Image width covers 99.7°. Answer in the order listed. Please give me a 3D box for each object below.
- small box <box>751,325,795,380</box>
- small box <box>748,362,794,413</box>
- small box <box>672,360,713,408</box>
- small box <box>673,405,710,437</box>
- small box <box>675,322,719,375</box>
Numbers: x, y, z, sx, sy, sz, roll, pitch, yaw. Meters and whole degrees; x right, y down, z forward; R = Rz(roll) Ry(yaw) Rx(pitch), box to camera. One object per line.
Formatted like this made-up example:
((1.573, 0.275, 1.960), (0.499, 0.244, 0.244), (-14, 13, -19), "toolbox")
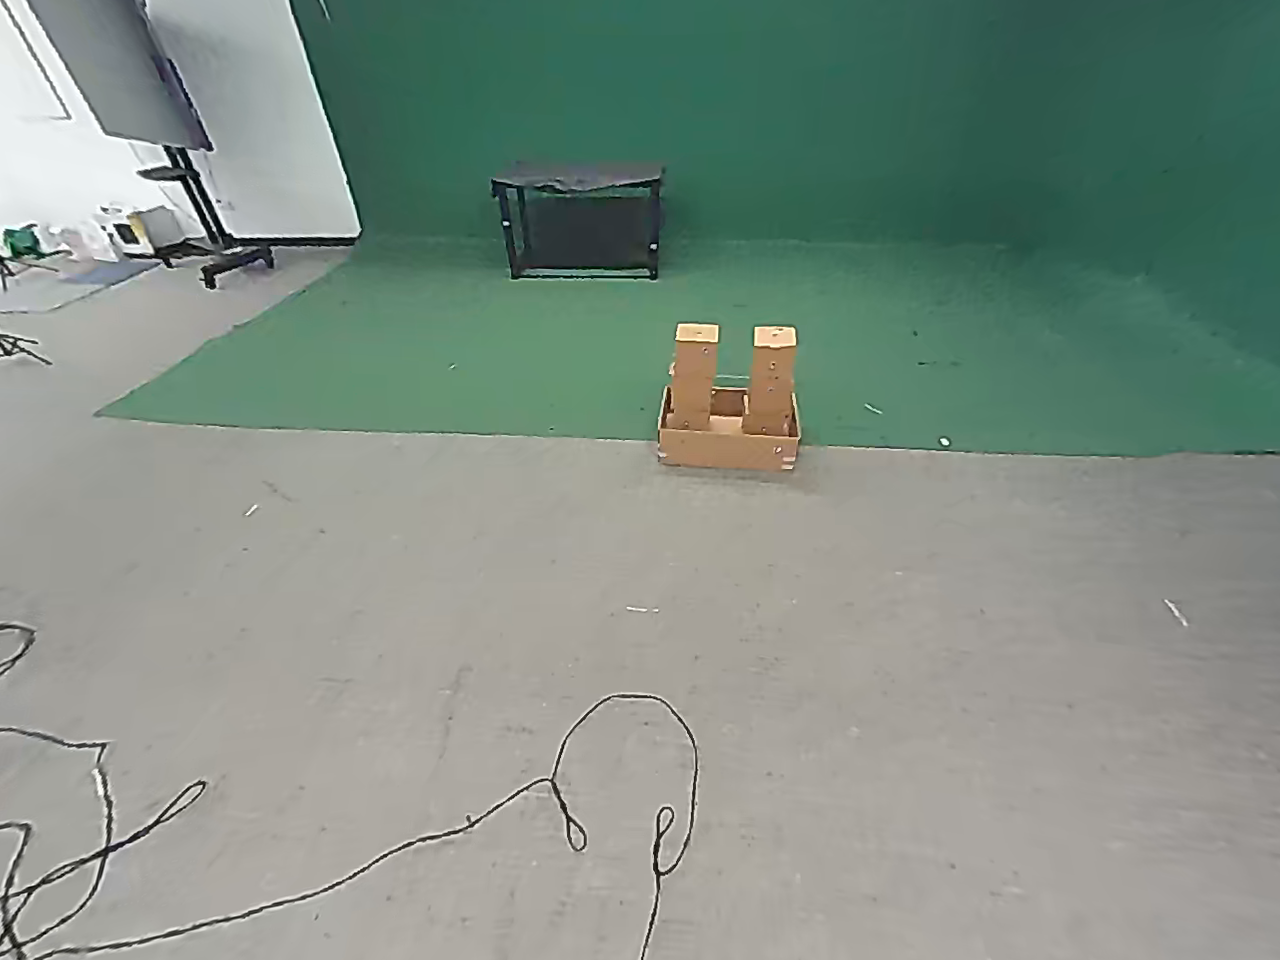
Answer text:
((0.558, -0.536, 2.272), (0.168, 0.176, 0.179), (5, 43, 9), "small box")
((0.568, -0.405, 2.372), (0.179, 0.176, 0.168), (2, 42, 6), "small box")
((0.235, -0.437, 2.420), (0.179, 0.176, 0.168), (5, 41, 5), "small box")
((0.244, -0.318, 2.533), (0.168, 0.176, 0.179), (4, 41, 5), "small box")
((0.243, -0.560, 2.310), (0.179, 0.176, 0.168), (4, 40, 6), "small box")
